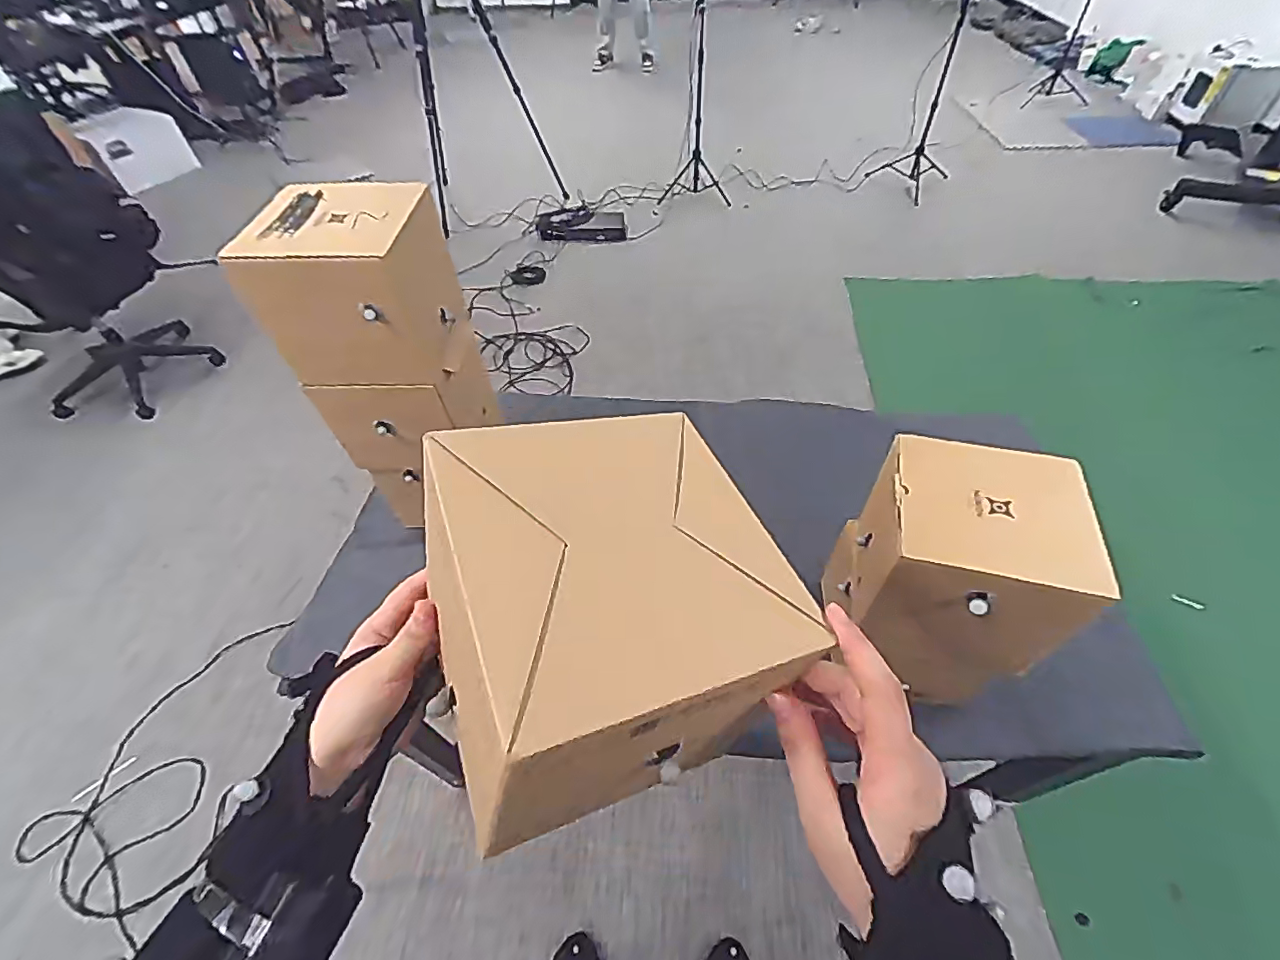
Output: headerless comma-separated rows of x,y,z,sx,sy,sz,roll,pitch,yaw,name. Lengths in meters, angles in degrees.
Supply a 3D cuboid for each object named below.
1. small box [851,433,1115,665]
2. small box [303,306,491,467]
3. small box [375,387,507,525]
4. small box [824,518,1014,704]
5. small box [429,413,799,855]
0.339,0.077,0.575,0.179,0.176,0.168,10,50,13,small box
-0.330,-0.130,0.783,0.179,0.176,0.168,0,52,3,small box
-0.323,-0.039,0.921,0.168,0.176,0.179,-1,51,2,small box
0.347,0.171,0.708,0.168,0.176,0.179,2,50,6,small box
-0.030,0.082,0.330,0.168,0.176,0.179,-8,49,-27,small box
